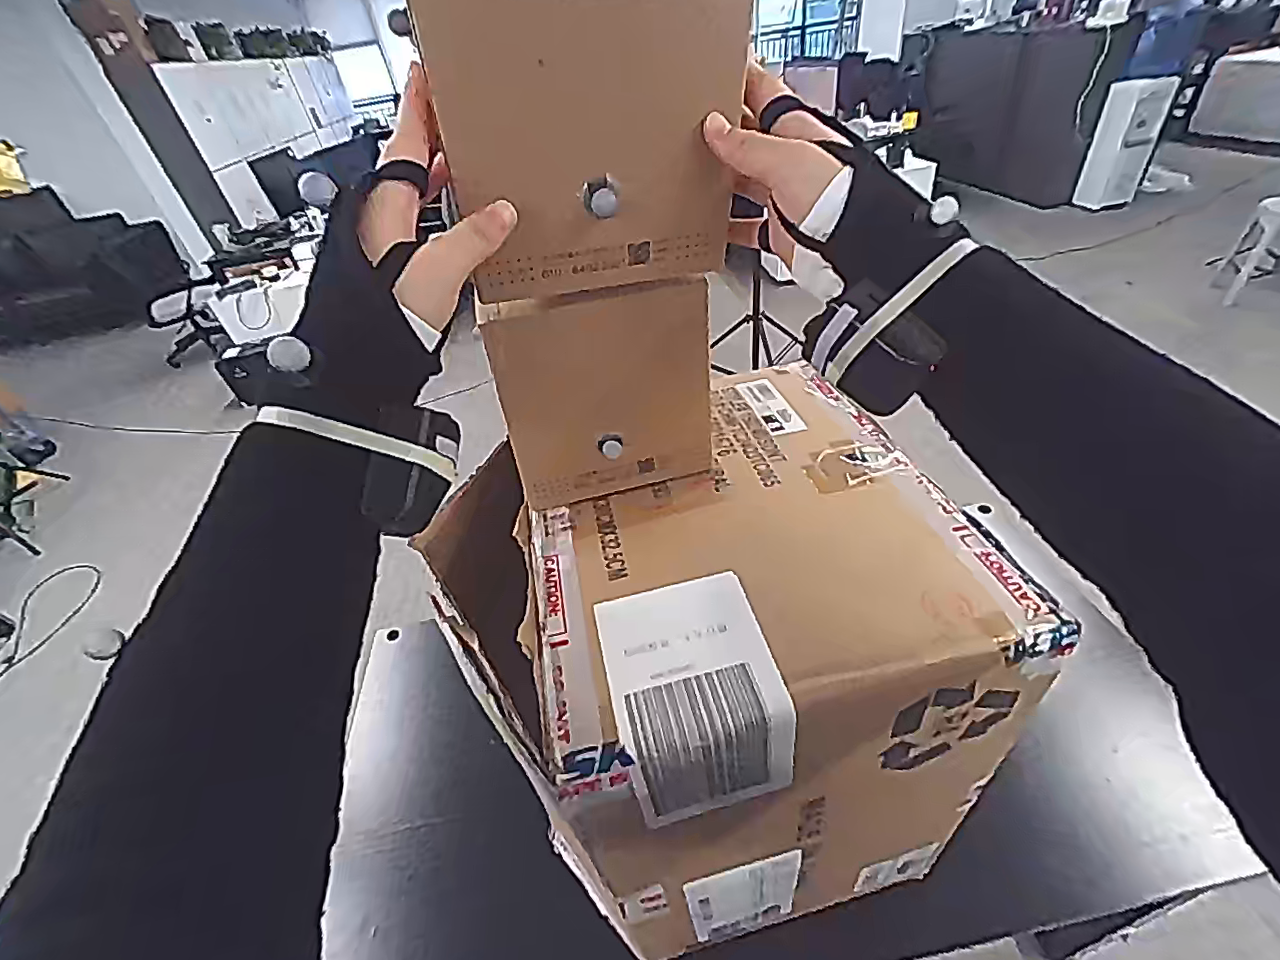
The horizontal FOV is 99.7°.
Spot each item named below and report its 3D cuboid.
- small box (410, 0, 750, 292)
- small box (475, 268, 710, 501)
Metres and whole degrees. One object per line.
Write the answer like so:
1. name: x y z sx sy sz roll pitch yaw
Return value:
1. small box: -0.046 -0.244 0.348 0.168 0.176 0.179 -13 48 -10
2. small box: -0.042 -0.108 0.484 0.168 0.176 0.179 -13 38 -7
